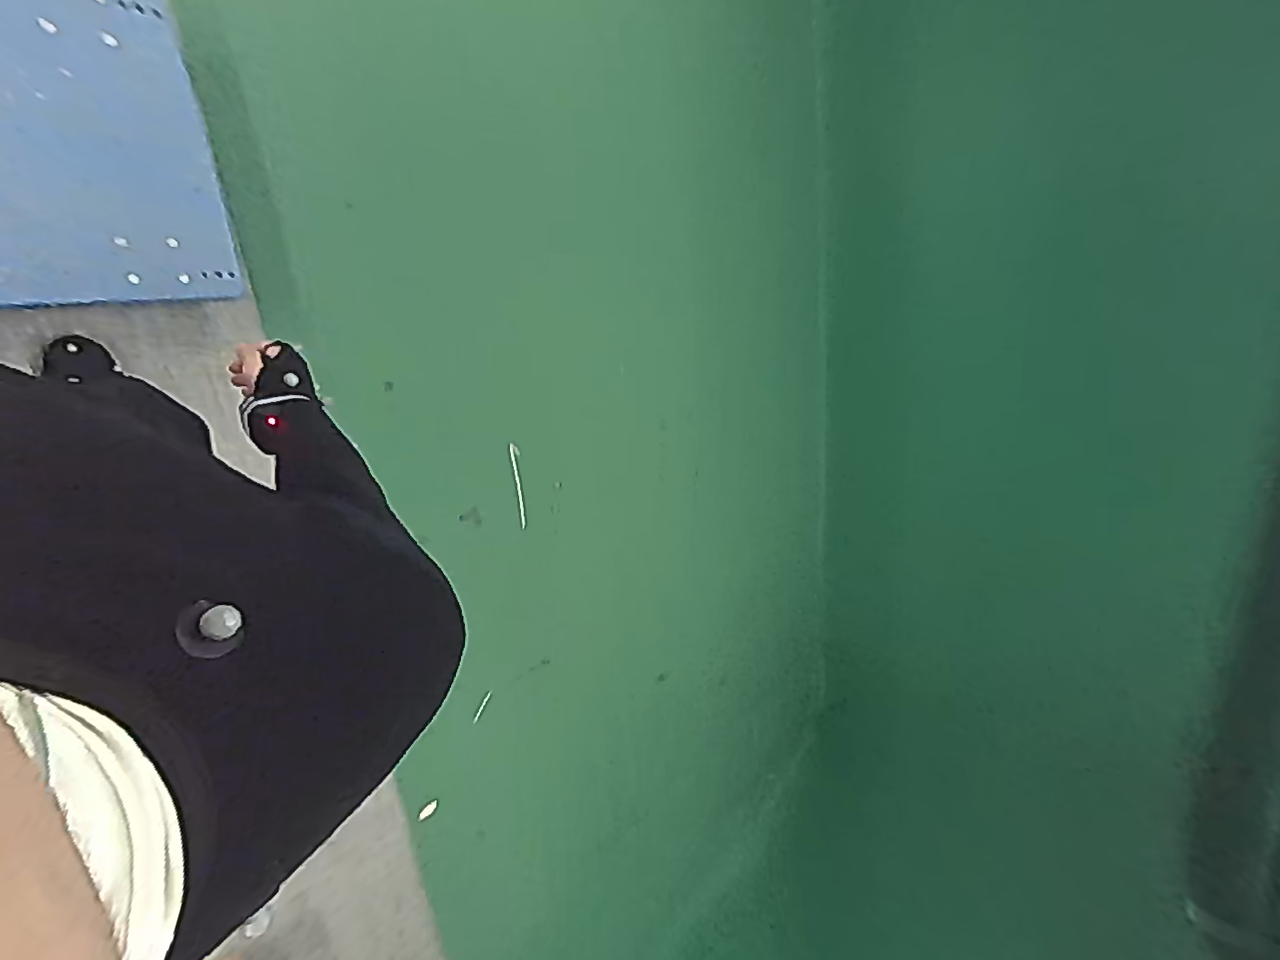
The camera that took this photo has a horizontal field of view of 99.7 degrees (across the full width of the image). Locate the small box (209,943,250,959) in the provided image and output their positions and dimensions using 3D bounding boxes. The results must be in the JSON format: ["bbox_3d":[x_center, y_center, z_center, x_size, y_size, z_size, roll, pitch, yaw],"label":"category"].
[{"bbox_3d":[-1.125,1.399,1.439,0.168,0.176,0.179,-15,109,-43],"label":"small box"}]
